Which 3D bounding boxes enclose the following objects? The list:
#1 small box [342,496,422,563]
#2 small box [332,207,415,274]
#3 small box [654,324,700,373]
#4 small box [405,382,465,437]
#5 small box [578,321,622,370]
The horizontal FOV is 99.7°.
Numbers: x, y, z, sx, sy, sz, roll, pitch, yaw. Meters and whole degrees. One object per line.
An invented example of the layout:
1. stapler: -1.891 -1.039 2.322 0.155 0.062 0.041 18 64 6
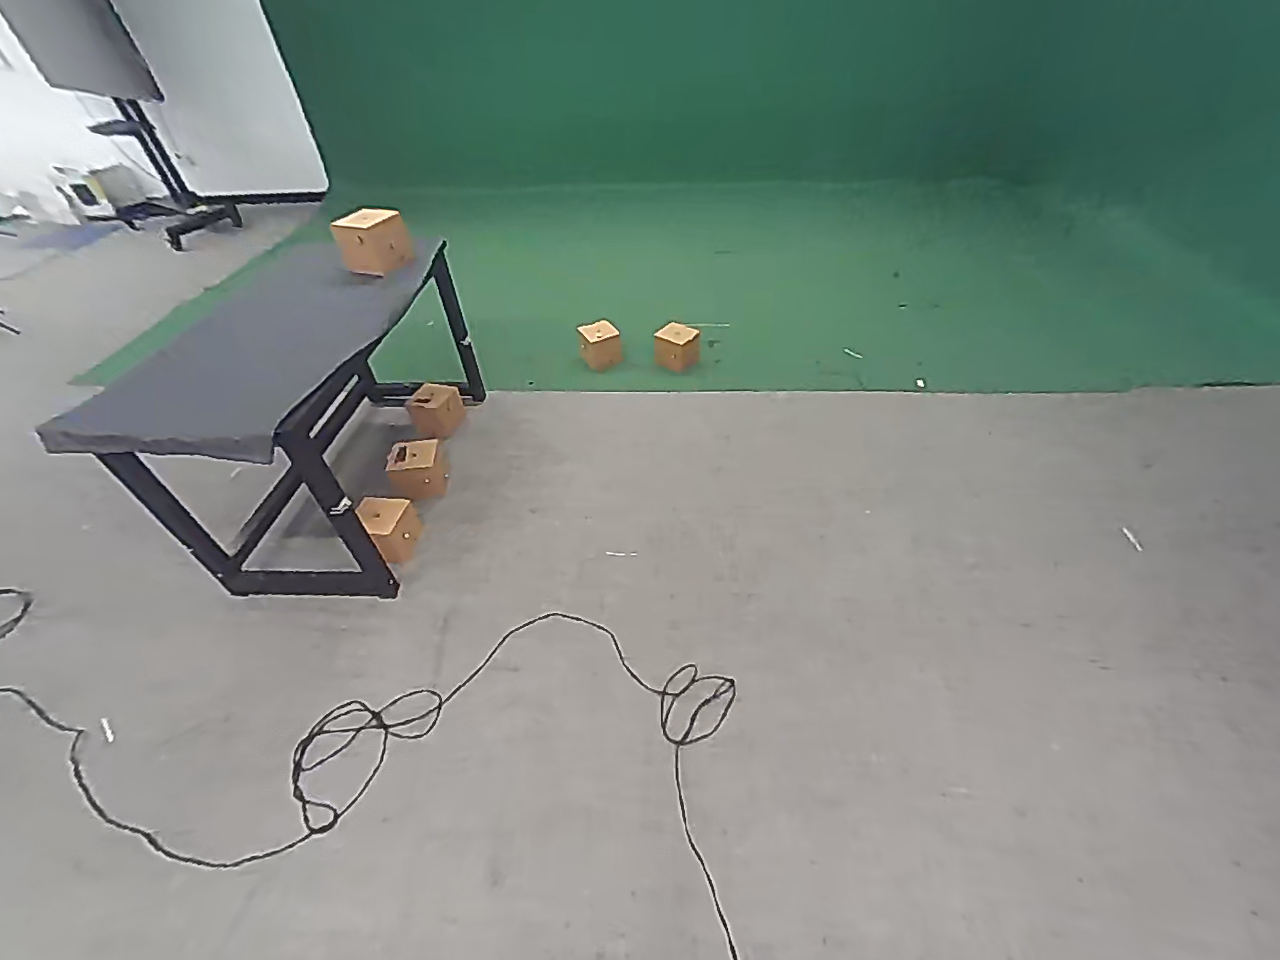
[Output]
1. small box: -0.904 0.177 1.916 0.179 0.176 0.168 3 45 7
2. small box: -0.941 -0.852 1.927 0.179 0.176 0.168 14 46 20
3. small box: 0.187 -0.661 2.730 0.179 0.176 0.168 27 50 28
4. small box: -0.911 -0.315 2.423 0.168 0.176 0.179 10 44 12
5. small box: -0.205 -0.693 2.783 0.168 0.176 0.179 -22 46 -19
